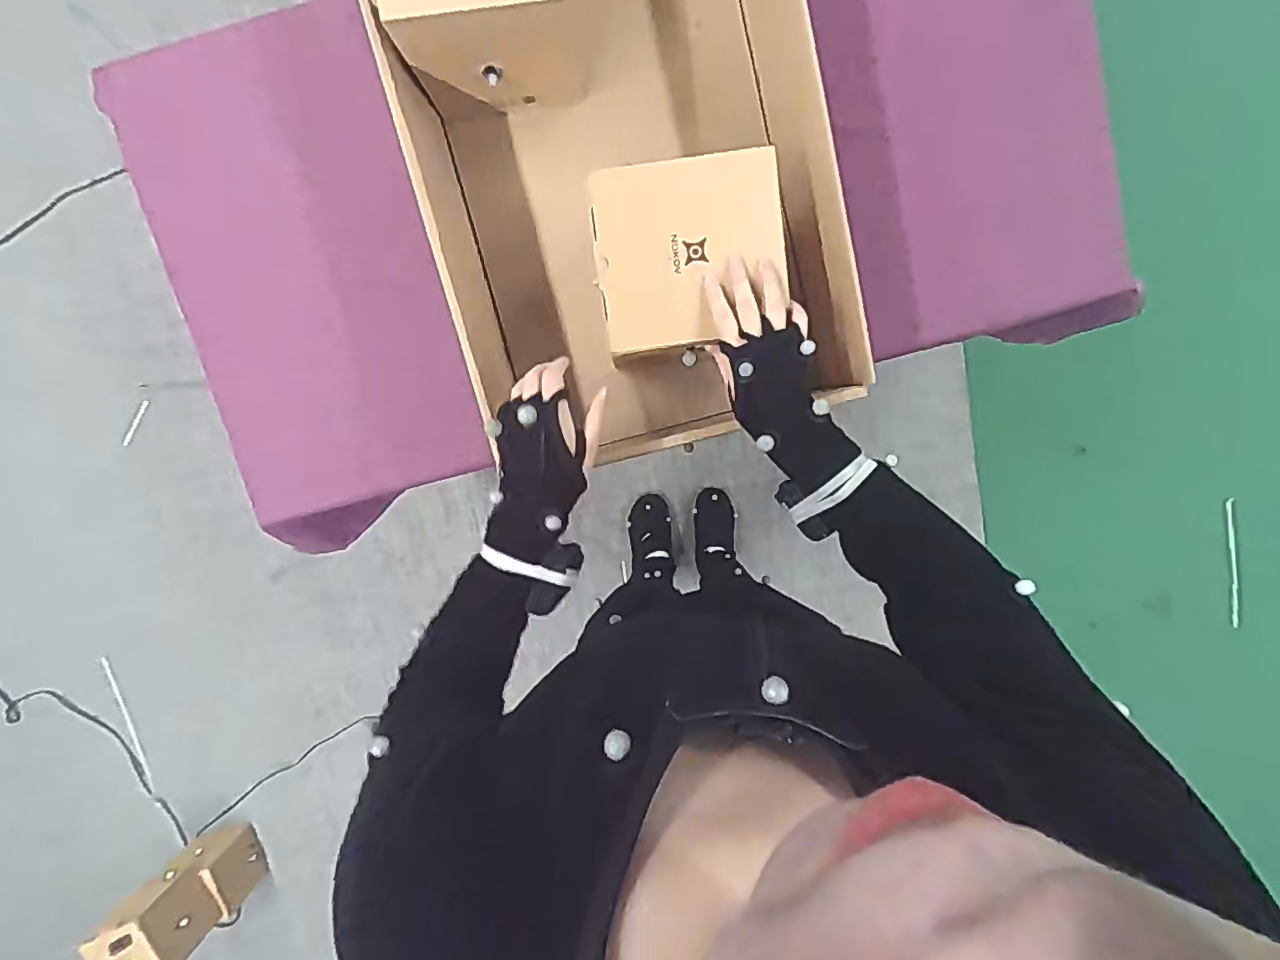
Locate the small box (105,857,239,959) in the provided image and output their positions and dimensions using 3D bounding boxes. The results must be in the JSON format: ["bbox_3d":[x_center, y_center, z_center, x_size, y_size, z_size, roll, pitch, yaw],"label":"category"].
[{"bbox_3d":[-1.229,1.147,1.434,0.168,0.176,0.179,-25,97,5],"label":"small box"}]
